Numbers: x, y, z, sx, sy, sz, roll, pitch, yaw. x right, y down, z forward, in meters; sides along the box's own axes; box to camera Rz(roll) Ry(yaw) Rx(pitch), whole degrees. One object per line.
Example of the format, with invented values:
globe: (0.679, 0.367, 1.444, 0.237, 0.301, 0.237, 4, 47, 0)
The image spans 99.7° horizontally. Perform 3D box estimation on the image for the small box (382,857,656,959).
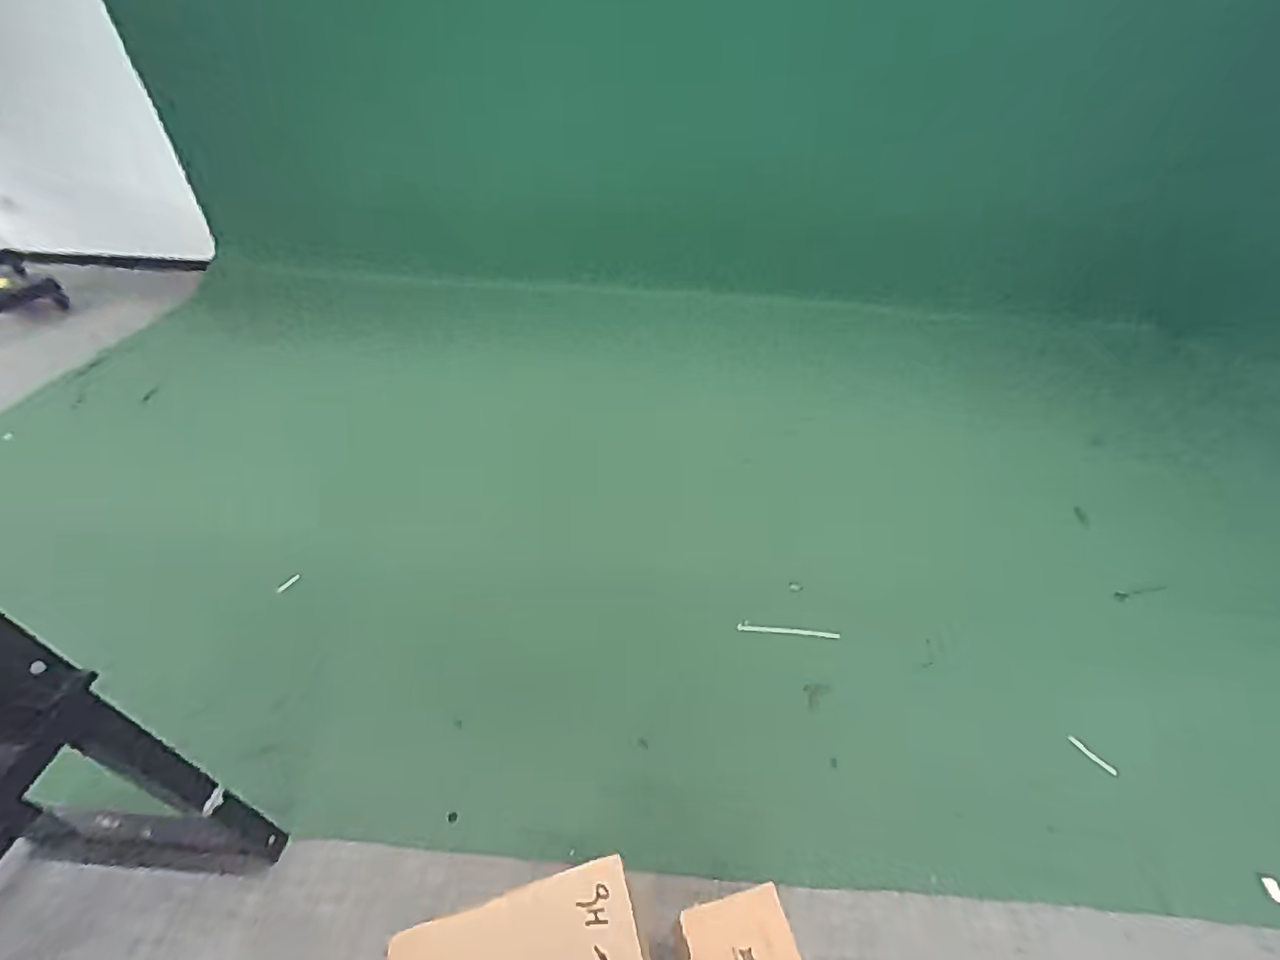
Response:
small box: (-0.068, 0.409, 0.378, 0.179, 0.176, 0.168, -14, 40, -8)

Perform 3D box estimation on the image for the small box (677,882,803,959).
small box: (0.166, 0.815, 0.909, 0.179, 0.176, 0.168, -9, 45, -13)
